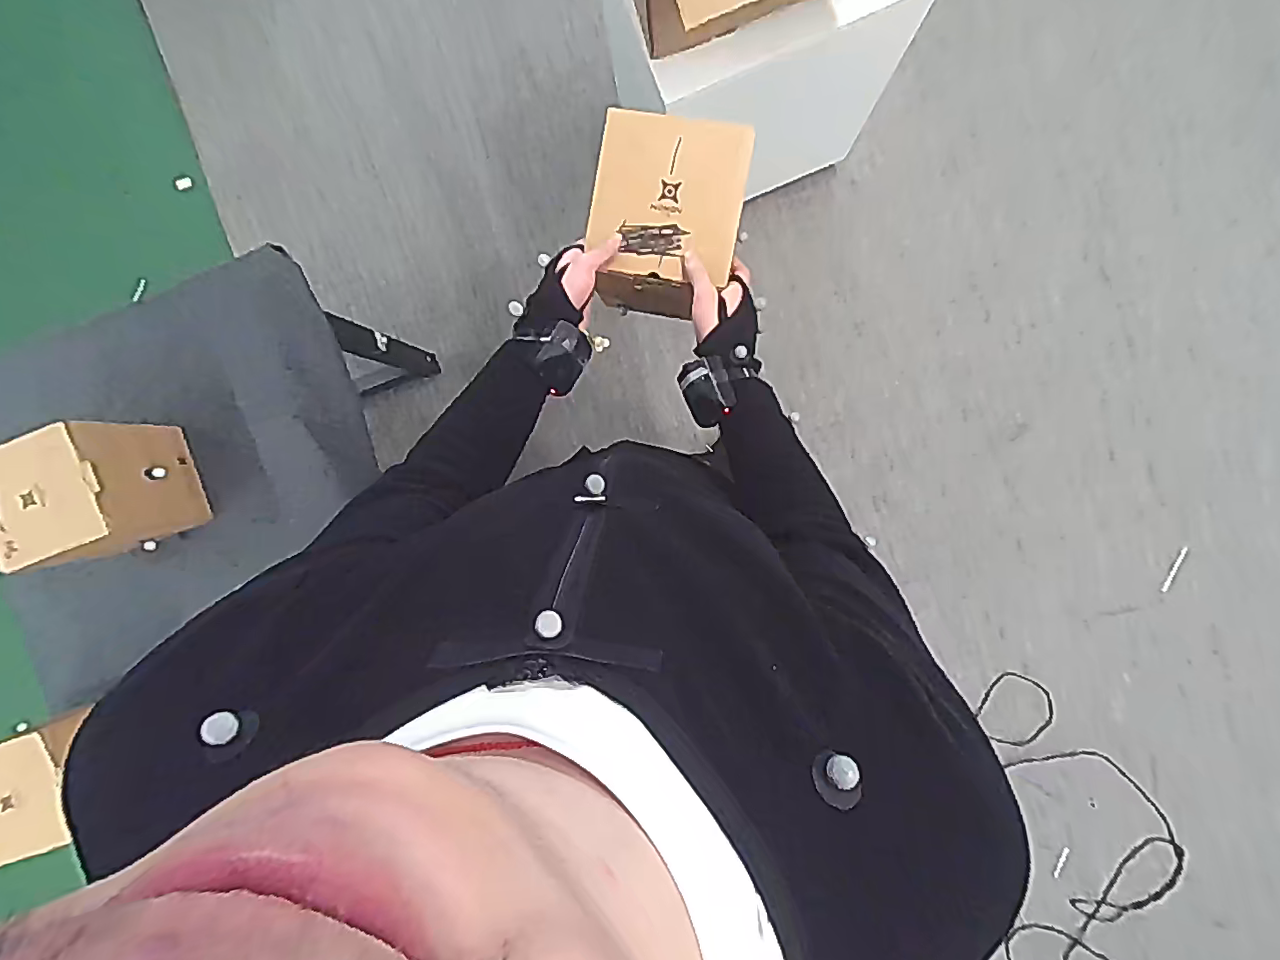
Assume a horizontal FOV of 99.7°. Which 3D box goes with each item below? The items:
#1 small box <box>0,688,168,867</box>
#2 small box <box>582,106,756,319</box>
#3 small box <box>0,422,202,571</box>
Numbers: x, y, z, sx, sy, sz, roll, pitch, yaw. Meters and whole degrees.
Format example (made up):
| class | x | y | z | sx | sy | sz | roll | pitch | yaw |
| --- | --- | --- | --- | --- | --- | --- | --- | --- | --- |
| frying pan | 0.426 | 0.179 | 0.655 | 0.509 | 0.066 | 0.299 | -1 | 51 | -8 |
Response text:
| class | x | y | z | sx | sy | sz | roll | pitch | yaw |
| --- | --- | --- | --- | --- | --- | --- | --- | --- | --- |
| small box | -0.880 | 0.446 | 0.826 | 0.179 | 0.176 | 0.168 | -21 | 90 | 5 |
| small box | 0.037 | -0.313 | 0.670 | 0.168 | 0.176 | 0.179 | 11 | 93 | 4 |
| small box | -0.814 | 0.018 | 0.814 | 0.179 | 0.176 | 0.168 | -19 | 91 | 3 |
